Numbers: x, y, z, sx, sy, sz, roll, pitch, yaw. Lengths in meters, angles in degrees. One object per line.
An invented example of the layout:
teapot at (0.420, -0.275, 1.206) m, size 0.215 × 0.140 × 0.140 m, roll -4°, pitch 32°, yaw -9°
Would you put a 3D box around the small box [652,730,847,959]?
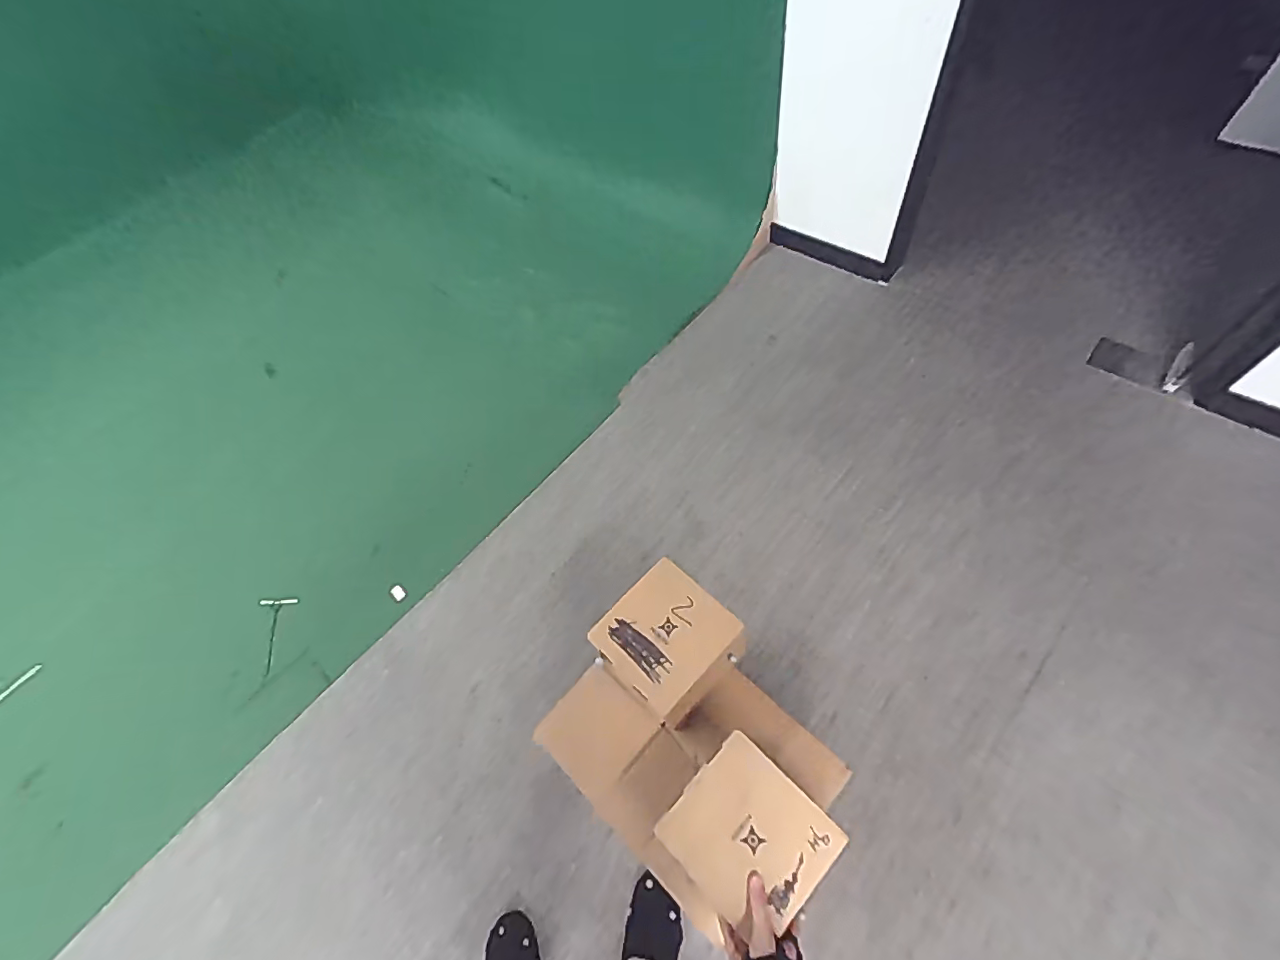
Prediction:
small box at (0.141, 0.470, 0.720) m, size 0.168 × 0.176 × 0.179 m, roll -43°, pitch 61°, yaw -14°
